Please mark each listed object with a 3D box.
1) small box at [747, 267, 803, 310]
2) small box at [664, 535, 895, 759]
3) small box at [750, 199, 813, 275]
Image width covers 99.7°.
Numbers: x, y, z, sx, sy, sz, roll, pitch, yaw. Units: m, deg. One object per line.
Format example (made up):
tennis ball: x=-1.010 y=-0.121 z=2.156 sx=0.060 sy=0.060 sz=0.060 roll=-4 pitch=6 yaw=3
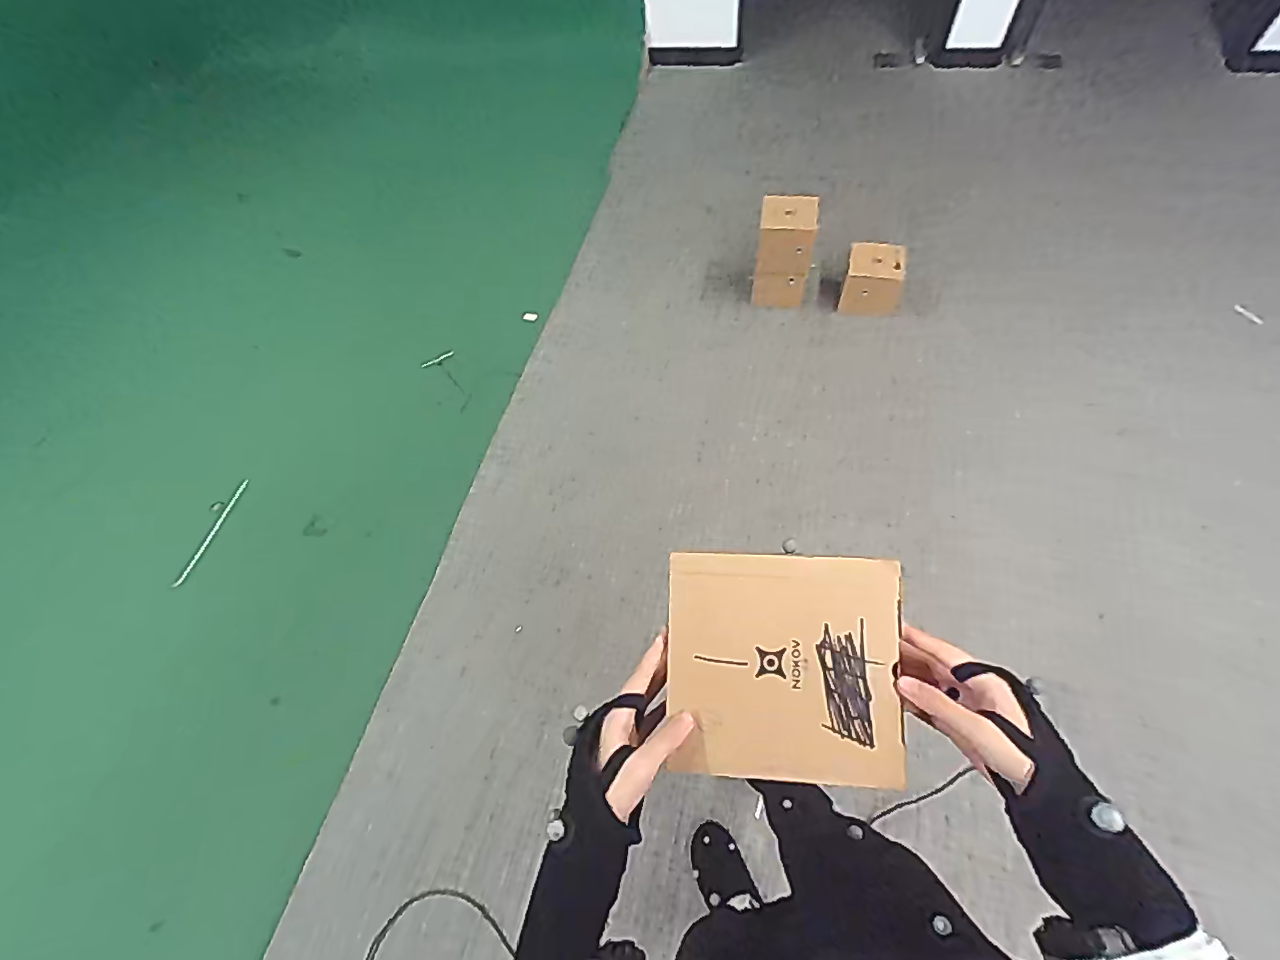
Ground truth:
small box: x=0.483 y=-0.731 z=1.937 sx=0.179 sy=0.176 sz=0.168 roll=6 pitch=62 yaw=11
small box: x=0.117 y=0.137 z=0.502 sx=0.179 sy=0.176 sz=0.168 roll=0 pitch=82 yaw=8
small box: x=0.466 y=-0.799 z=1.790 sx=0.179 sy=0.176 sz=0.168 roll=6 pitch=62 yaw=11
